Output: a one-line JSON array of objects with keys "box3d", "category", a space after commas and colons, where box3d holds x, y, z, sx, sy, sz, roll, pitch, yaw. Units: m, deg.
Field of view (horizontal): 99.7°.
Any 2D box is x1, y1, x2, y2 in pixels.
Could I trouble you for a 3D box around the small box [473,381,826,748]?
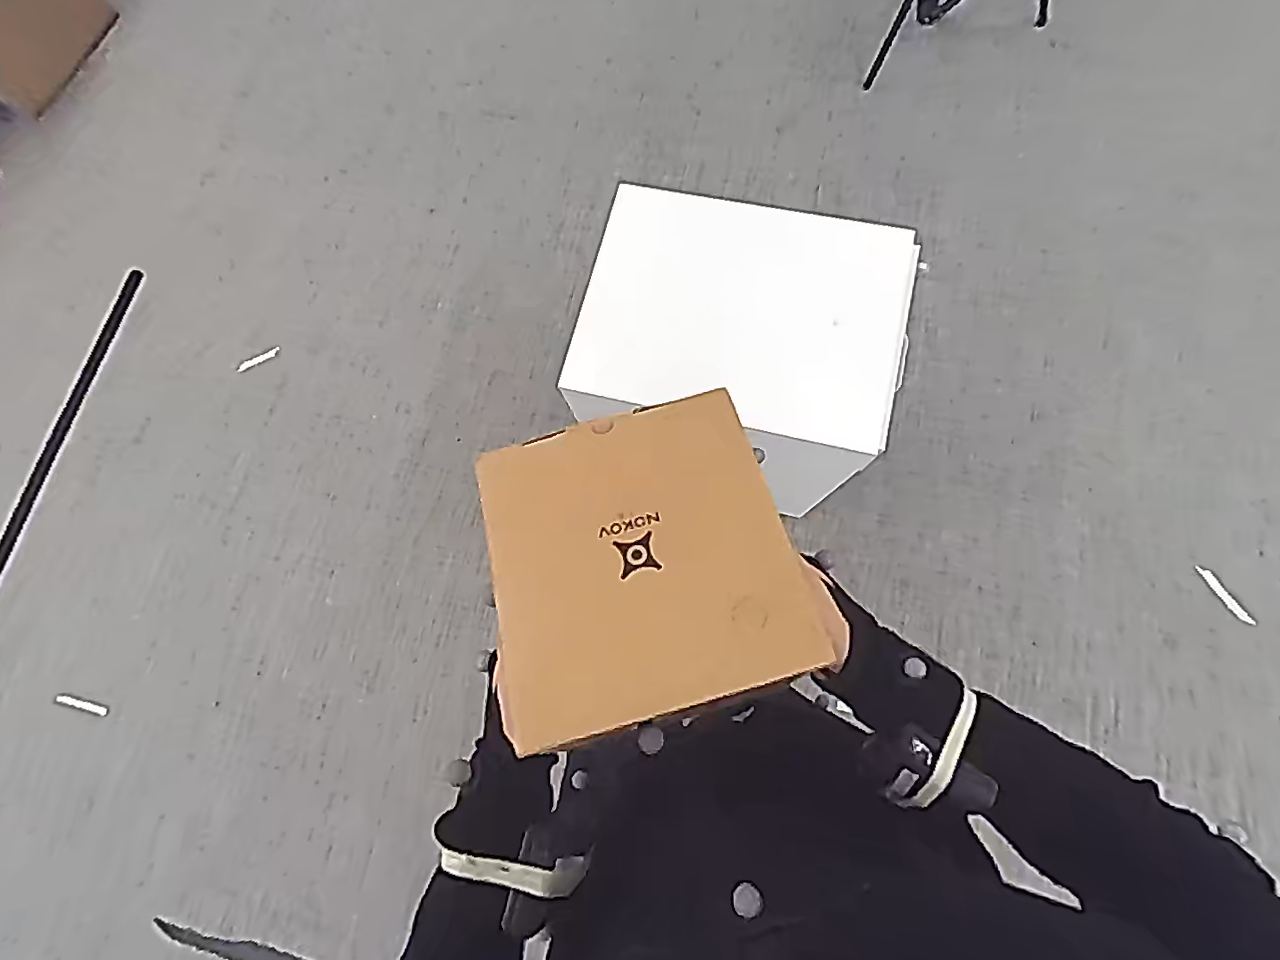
[{"box3d": [0.004, 0.067, 0.371, 0.168, 0.176, 0.179, -16, 63, -2], "category": "small box"}]
